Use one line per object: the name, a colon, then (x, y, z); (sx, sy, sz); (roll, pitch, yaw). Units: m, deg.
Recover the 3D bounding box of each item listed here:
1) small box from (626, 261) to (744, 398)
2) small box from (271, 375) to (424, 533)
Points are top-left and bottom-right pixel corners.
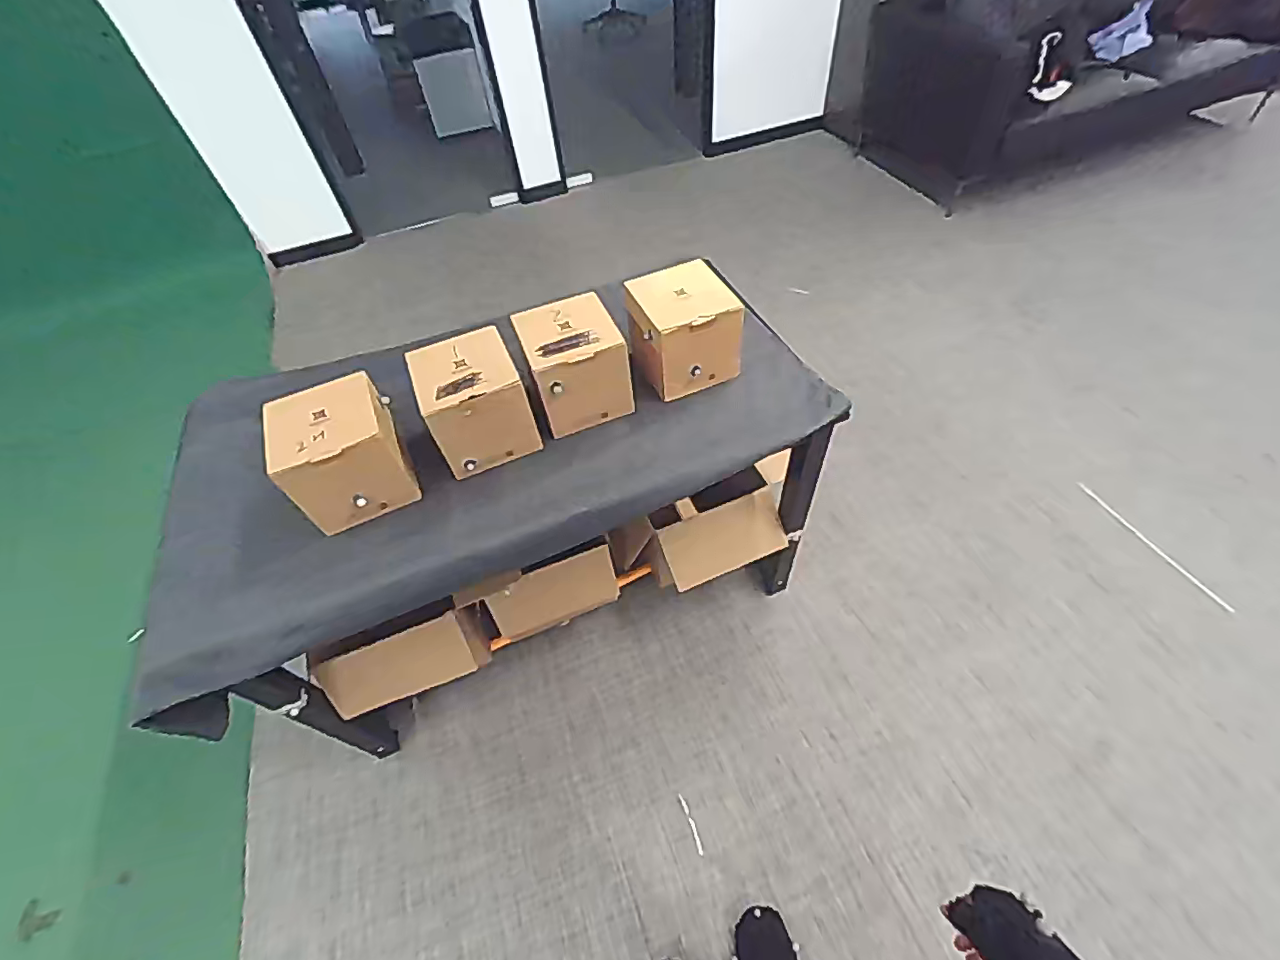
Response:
small box: (0.083, -0.291, 1.053); (0.168, 0.176, 0.179); (-21, 54, -10)
small box: (-0.493, -0.042, 0.920); (0.168, 0.176, 0.179); (-24, 54, -12)
